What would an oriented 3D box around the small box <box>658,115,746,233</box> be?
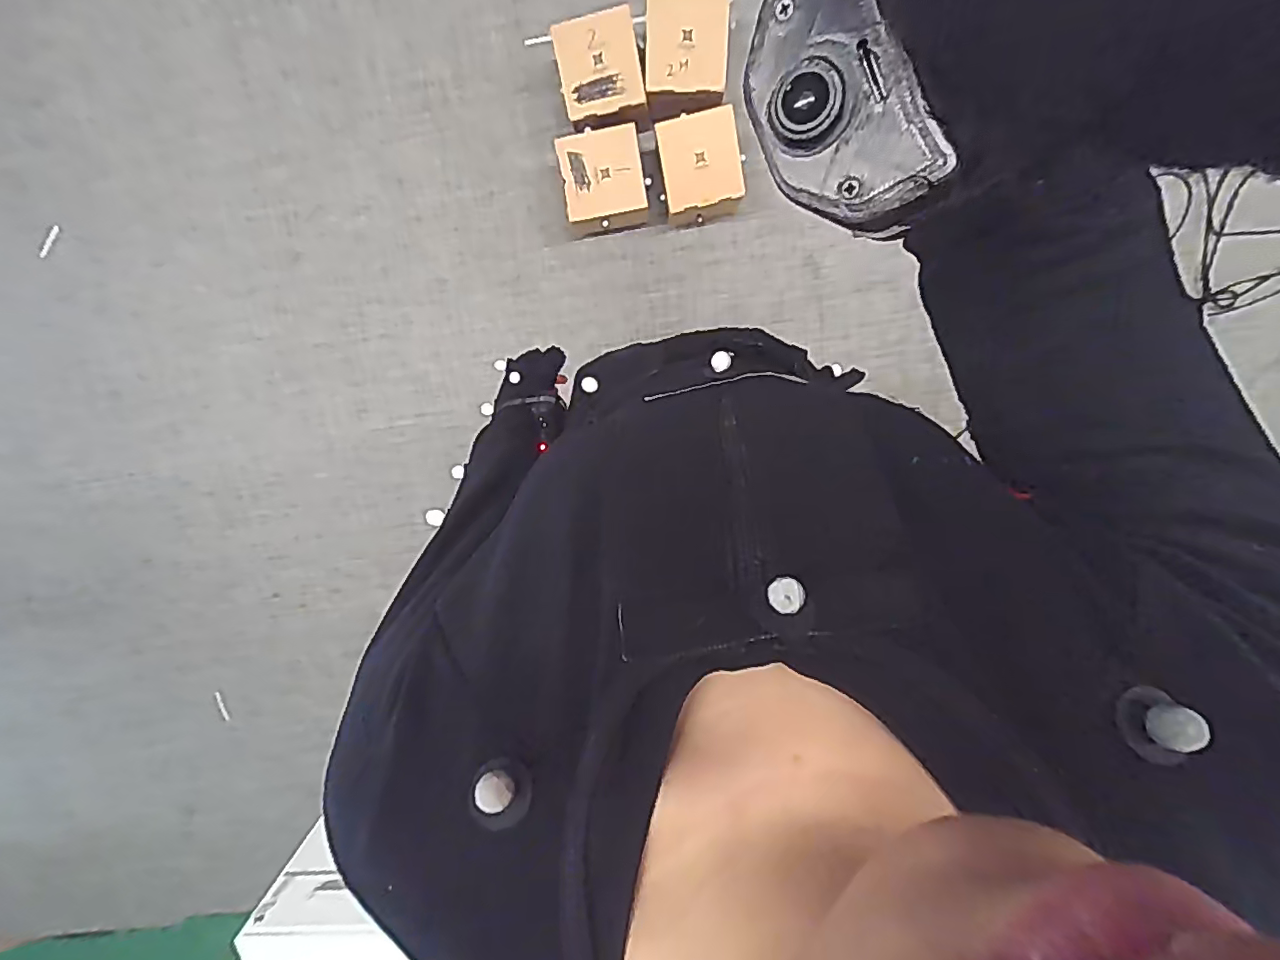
[{"bbox_3d":[0.135,-0.678,1.218,0.168,0.176,0.179,-11,105,6],"label":"small box"}]
